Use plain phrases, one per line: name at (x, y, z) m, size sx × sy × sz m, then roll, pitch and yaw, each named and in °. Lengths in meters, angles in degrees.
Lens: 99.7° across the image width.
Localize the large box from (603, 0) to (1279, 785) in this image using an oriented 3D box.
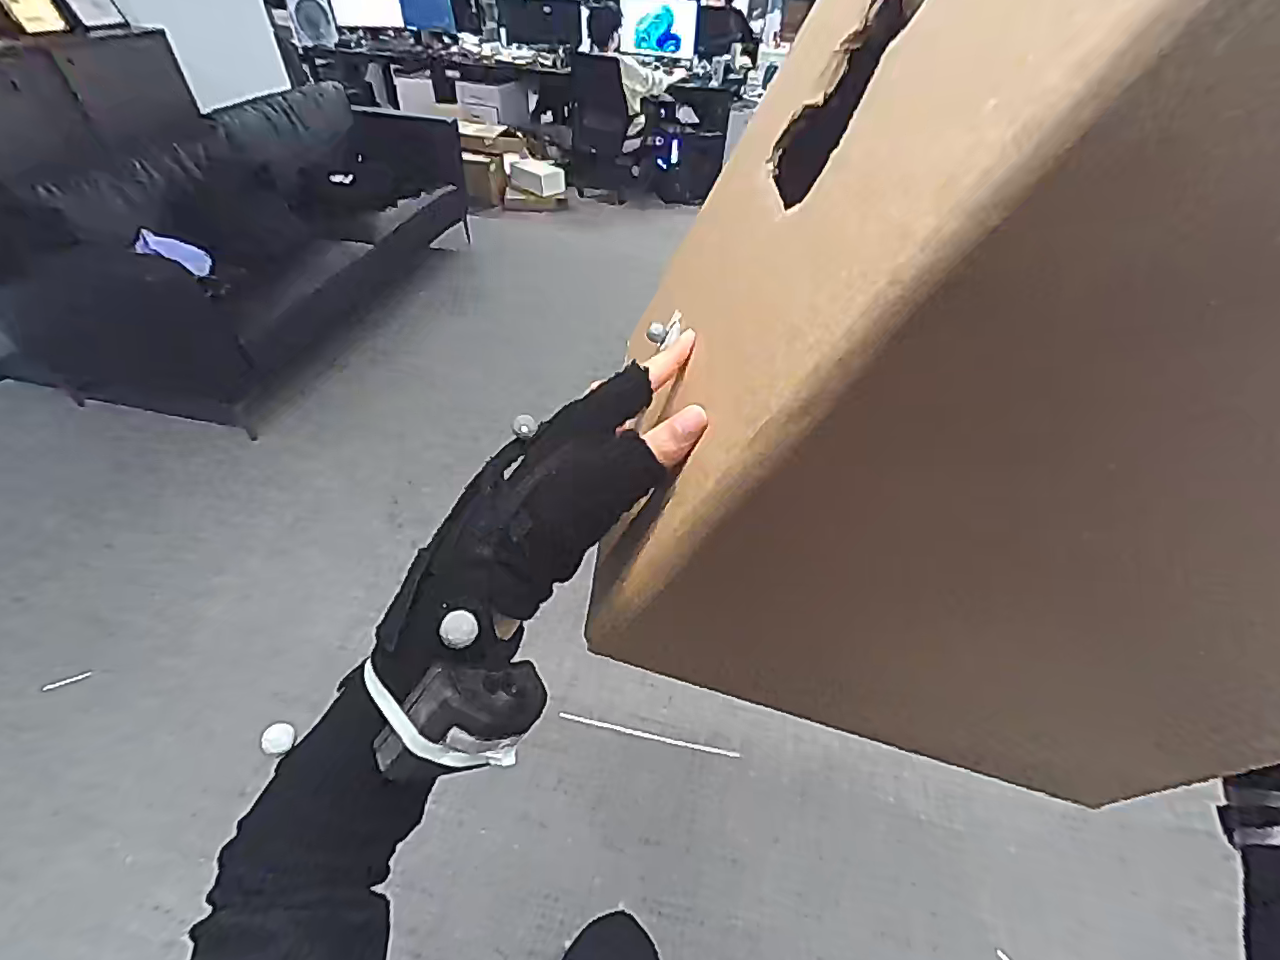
large box at (0.225, -0.039, 0.360) m, size 0.408 × 0.320 × 0.320 m, roll 23°, pitch 42°, yaw -16°
